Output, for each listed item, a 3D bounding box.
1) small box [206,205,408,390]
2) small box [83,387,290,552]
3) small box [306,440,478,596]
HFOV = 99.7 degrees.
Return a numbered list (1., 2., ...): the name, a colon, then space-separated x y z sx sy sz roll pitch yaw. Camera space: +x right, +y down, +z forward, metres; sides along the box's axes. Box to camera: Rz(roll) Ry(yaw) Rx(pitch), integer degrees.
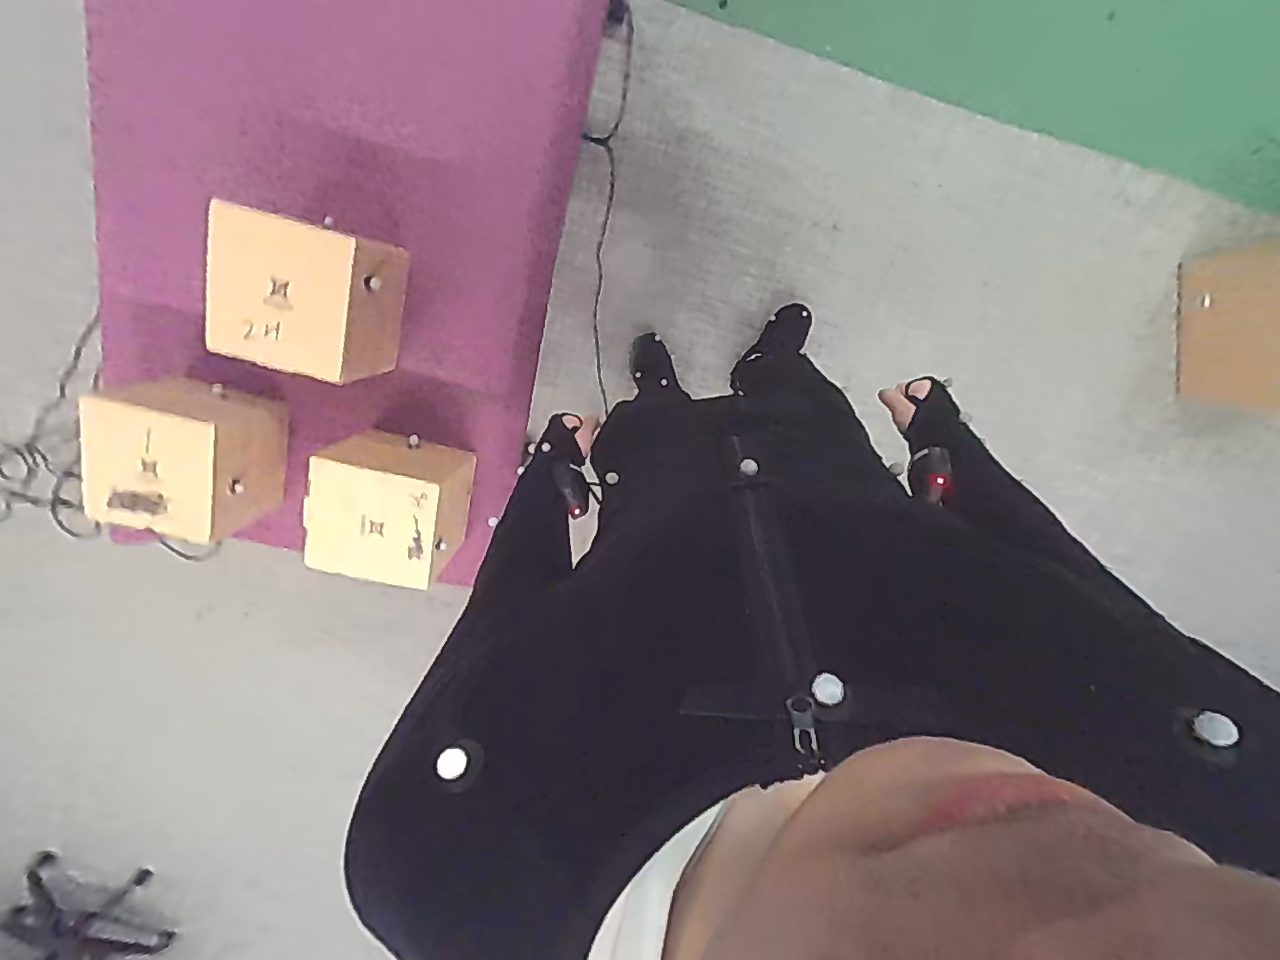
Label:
1. small box: -0.428 -0.236 0.720 0.168 0.176 0.179 15 107 -5
2. small box: -0.644 -0.024 0.786 0.168 0.176 0.179 14 106 -6
3. small box: -0.363 0.047 0.811 0.179 0.176 0.168 13 108 -3
